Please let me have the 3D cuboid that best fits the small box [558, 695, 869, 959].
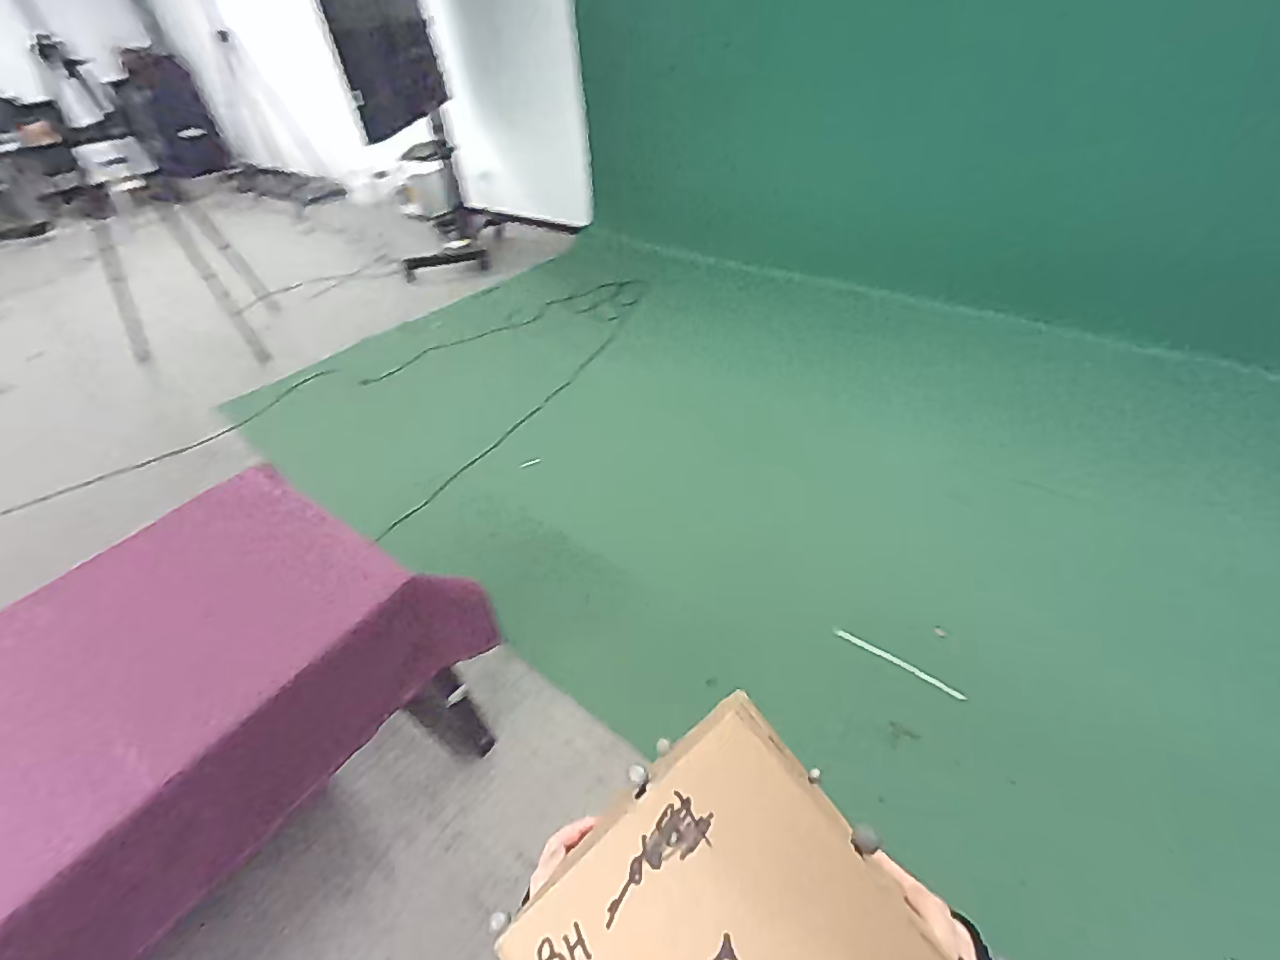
[{"bbox_3d":[0.062,0.314,0.475,0.179,0.176,0.168,-39,71,-6],"label":"small box"}]
